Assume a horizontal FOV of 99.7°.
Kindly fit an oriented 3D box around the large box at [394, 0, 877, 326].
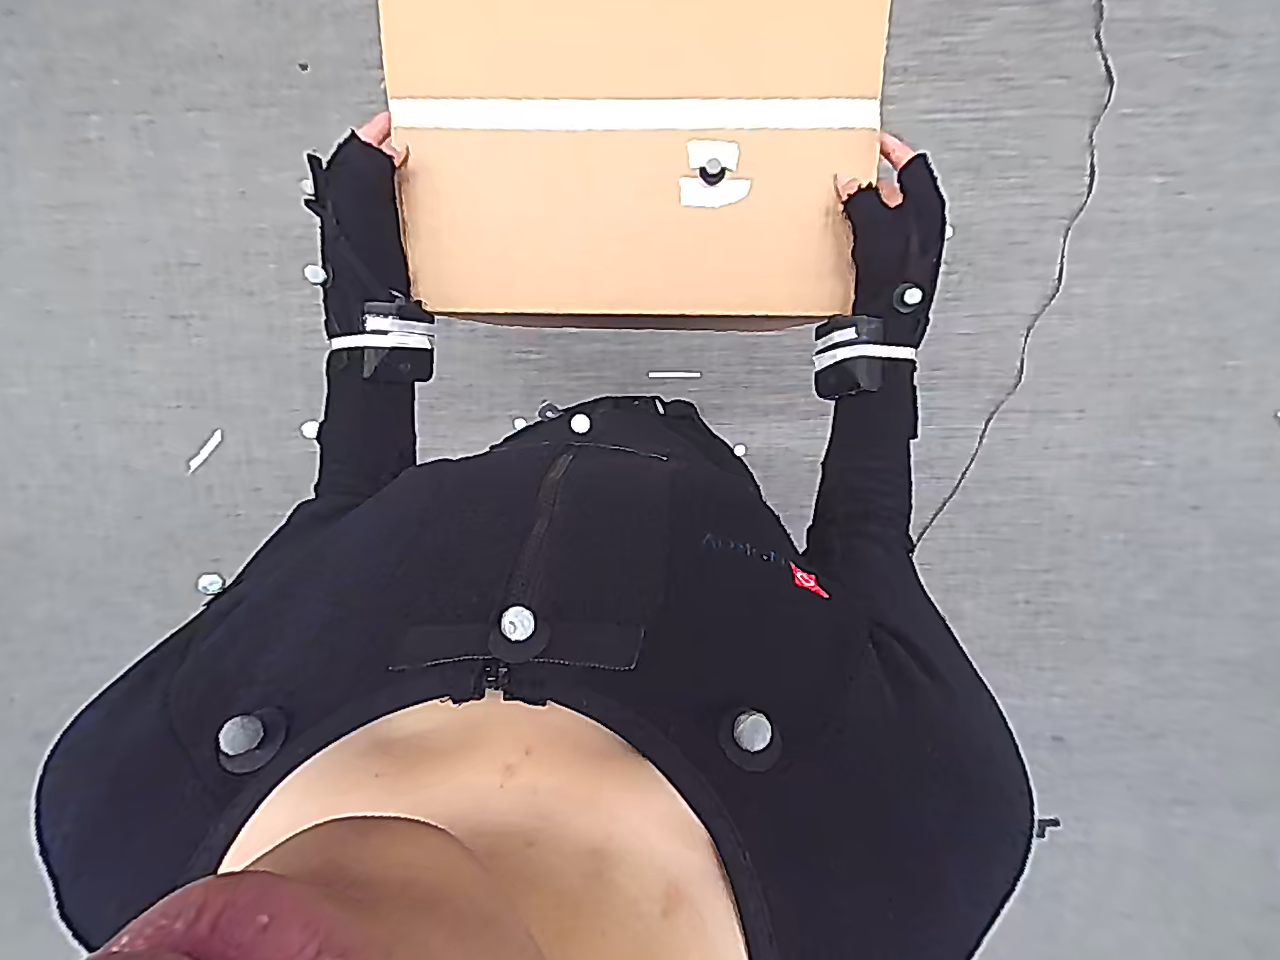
[{"bbox_3d":[-0.005,-0.343,0.605,0.408,0.320,0.320,1,103,0],"label":"large box"}]
